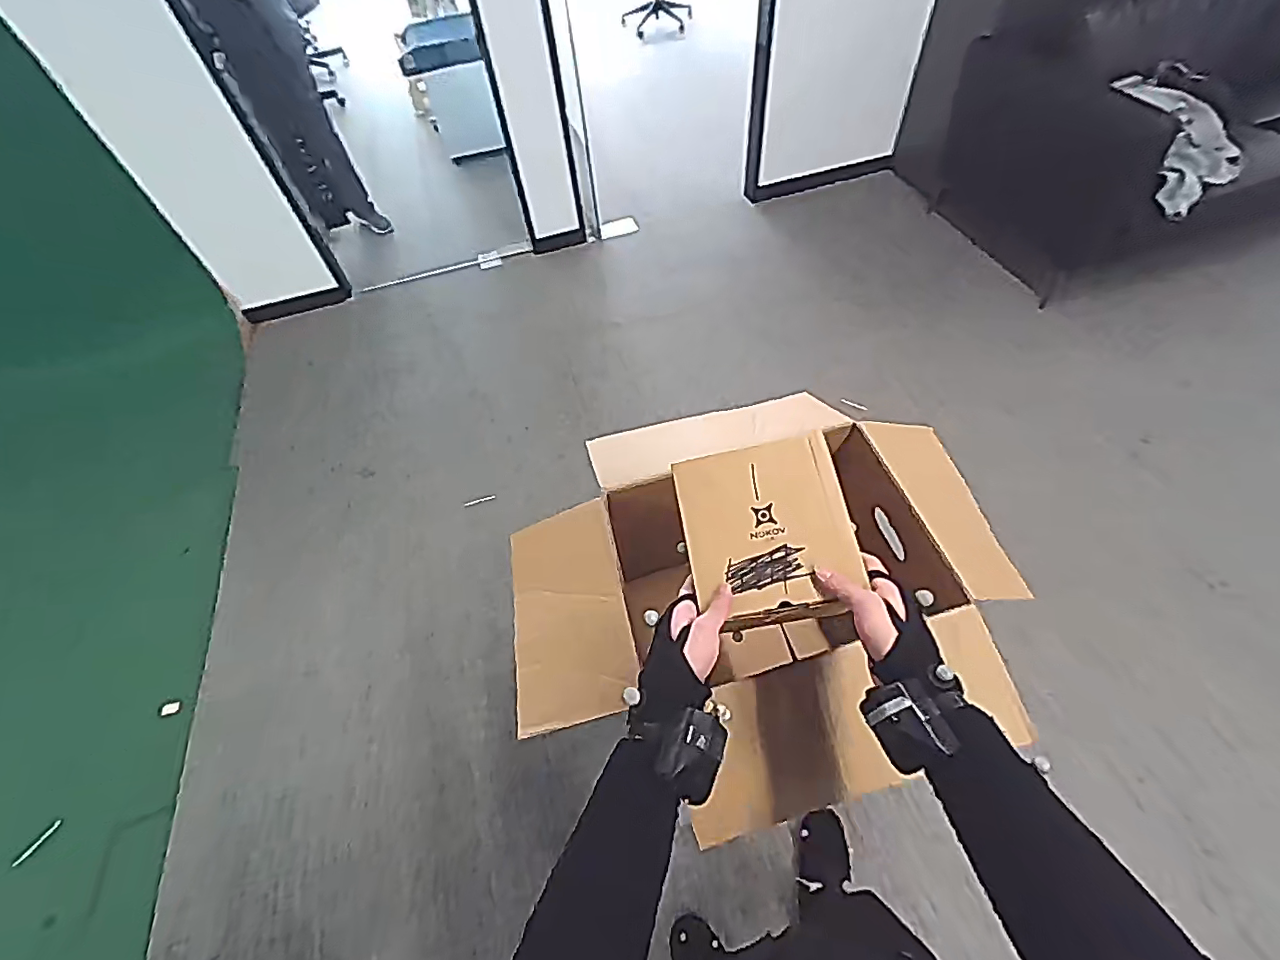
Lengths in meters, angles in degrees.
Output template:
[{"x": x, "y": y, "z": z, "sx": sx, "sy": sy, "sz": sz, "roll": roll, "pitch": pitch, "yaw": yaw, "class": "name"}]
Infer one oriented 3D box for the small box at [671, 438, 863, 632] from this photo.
[{"x": 0.138, "y": 0.076, "z": 0.627, "sx": 0.168, "sy": 0.176, "sz": 0.179, "roll": -11, "pitch": 68, "yaw": 6, "class": "small box"}]
